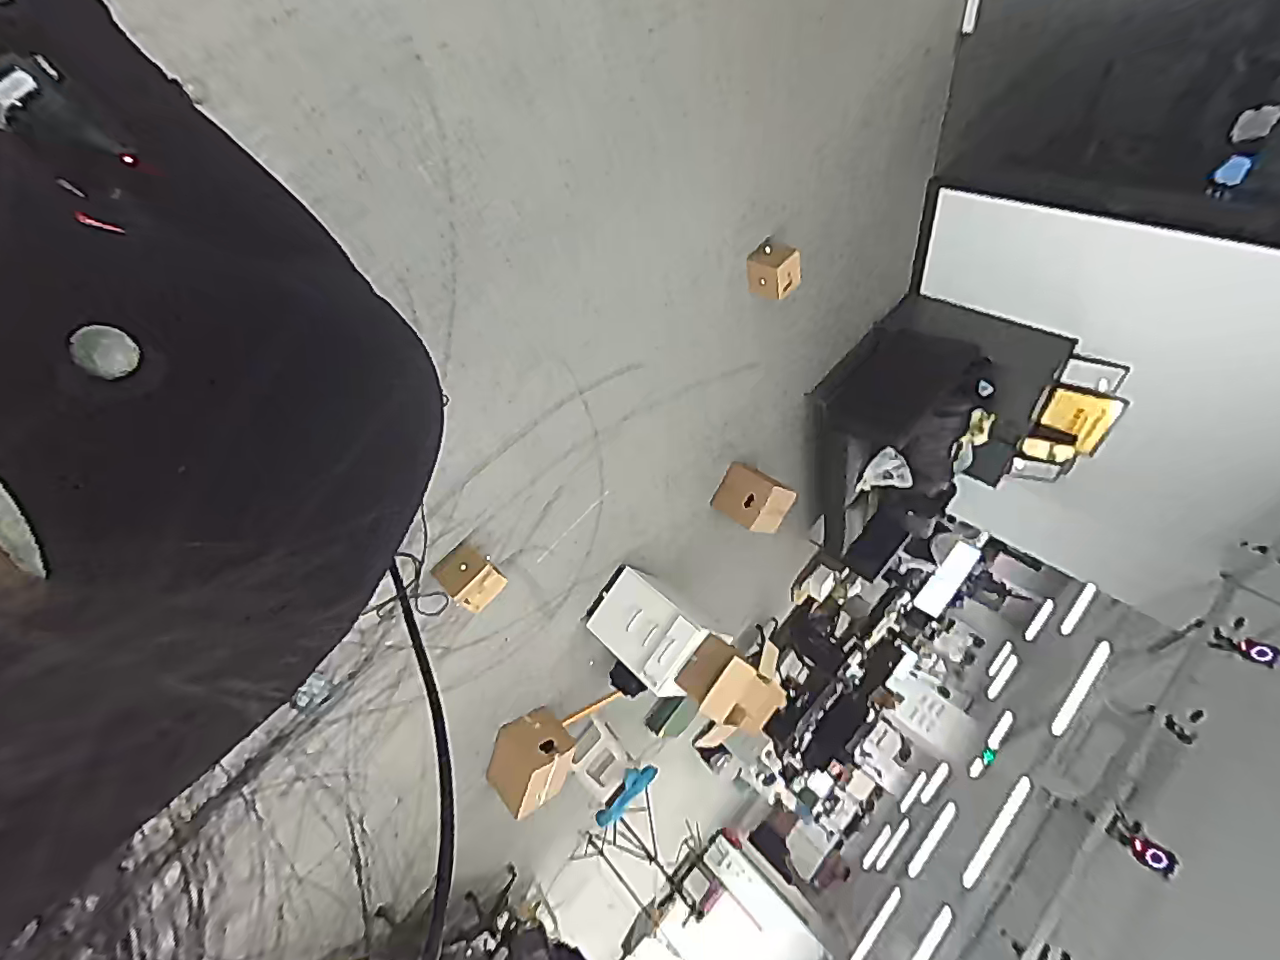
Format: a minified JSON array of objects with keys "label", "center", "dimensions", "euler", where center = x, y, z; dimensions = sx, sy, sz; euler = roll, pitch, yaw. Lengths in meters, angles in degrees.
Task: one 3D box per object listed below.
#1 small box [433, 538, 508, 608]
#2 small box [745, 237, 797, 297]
[{"label":"small box","center":[-0.648,0.351,2.063],"dimensions":[0.179,0.176,0.168],"euler":[-47,146,-14]},{"label":"small box","center":[0.600,-0.984,2.486],"dimensions":[0.168,0.176,0.179],"euler":[-44,145,-16]}]
